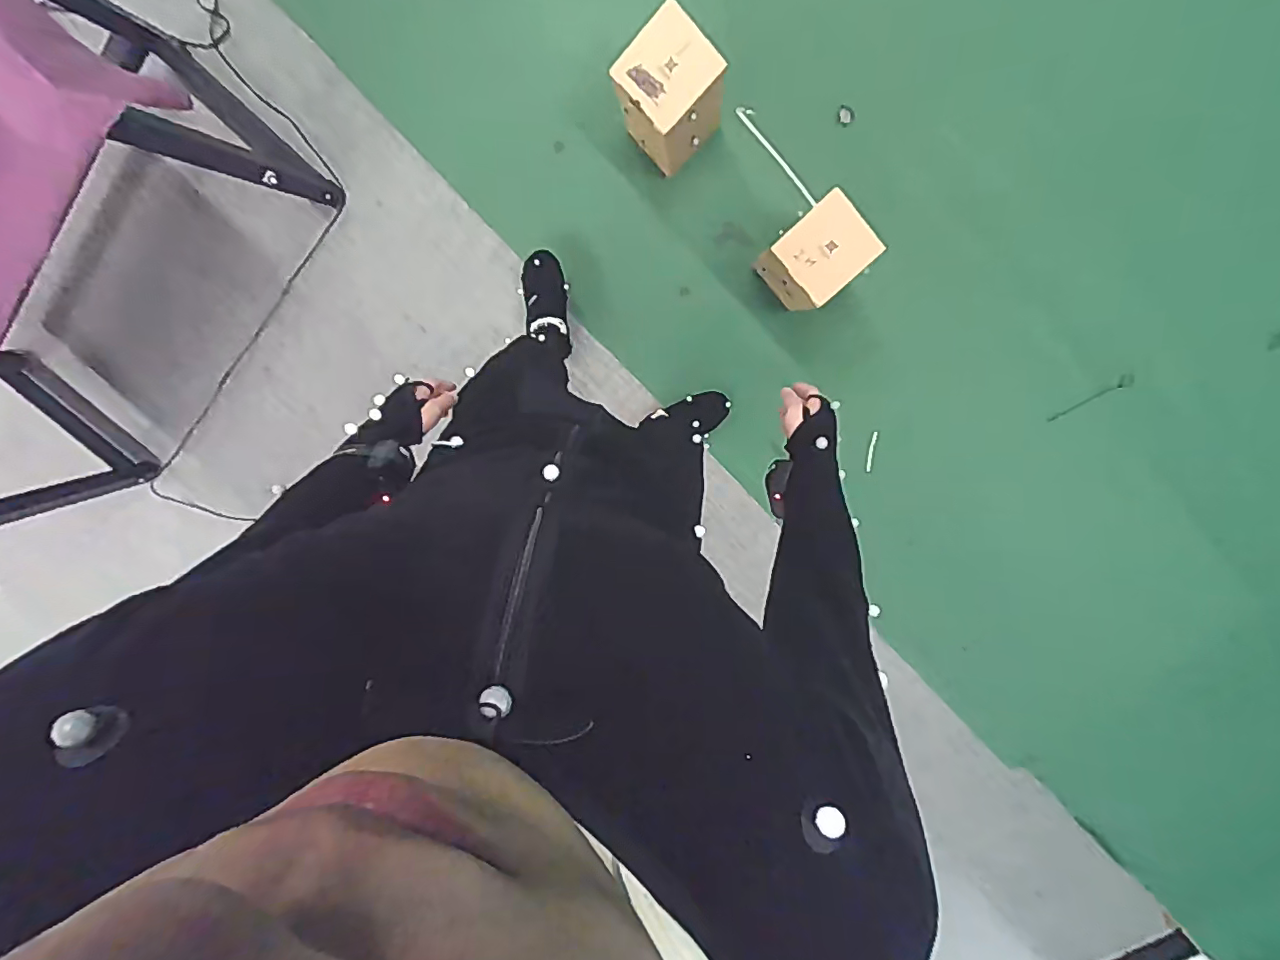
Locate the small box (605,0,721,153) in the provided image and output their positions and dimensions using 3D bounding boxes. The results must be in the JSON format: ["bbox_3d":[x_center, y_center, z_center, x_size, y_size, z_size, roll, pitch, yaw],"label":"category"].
[{"bbox_3d":[0.053,-0.835,1.138,0.179,0.176,0.168,-42,99,15],"label":"small box"}]

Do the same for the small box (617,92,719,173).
[{"bbox_3d":[0.067,-0.880,1.295,0.179,0.176,0.168,-42,99,15],"label":"small box"}]

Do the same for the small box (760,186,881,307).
[{"bbox_3d":[0.389,-0.507,1.201,0.179,0.176,0.168,-41,99,15],"label":"small box"}]
